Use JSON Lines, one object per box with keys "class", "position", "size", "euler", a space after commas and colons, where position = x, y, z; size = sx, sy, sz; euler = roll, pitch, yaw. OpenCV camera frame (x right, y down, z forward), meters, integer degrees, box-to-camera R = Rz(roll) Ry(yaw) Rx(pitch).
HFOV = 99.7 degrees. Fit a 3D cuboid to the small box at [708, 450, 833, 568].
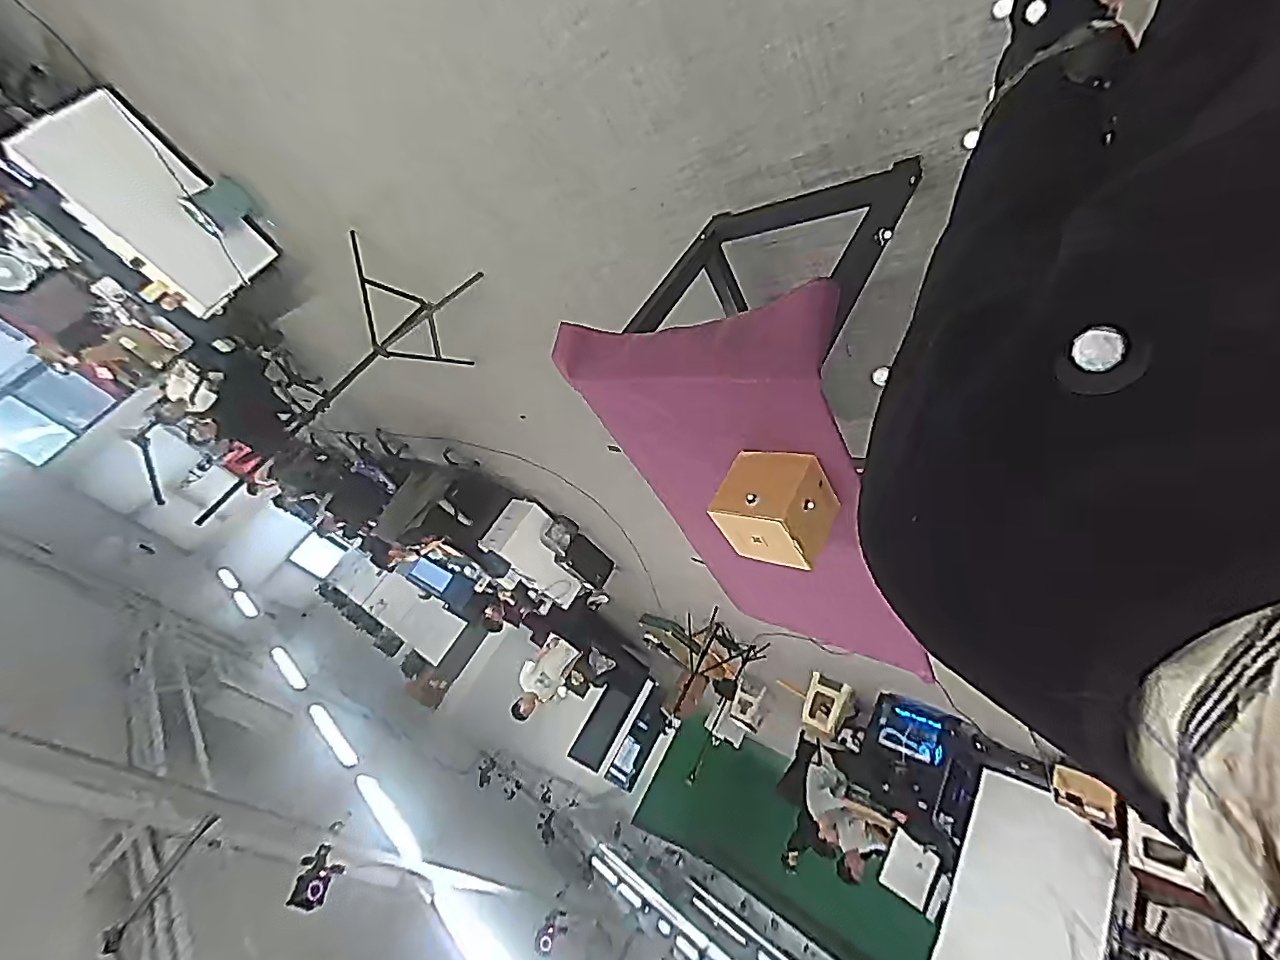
{"class": "small box", "position": [0.275, 0.053, 1.105], "size": [0.179, 0.176, 0.168], "euler": [8, 146, 46]}
